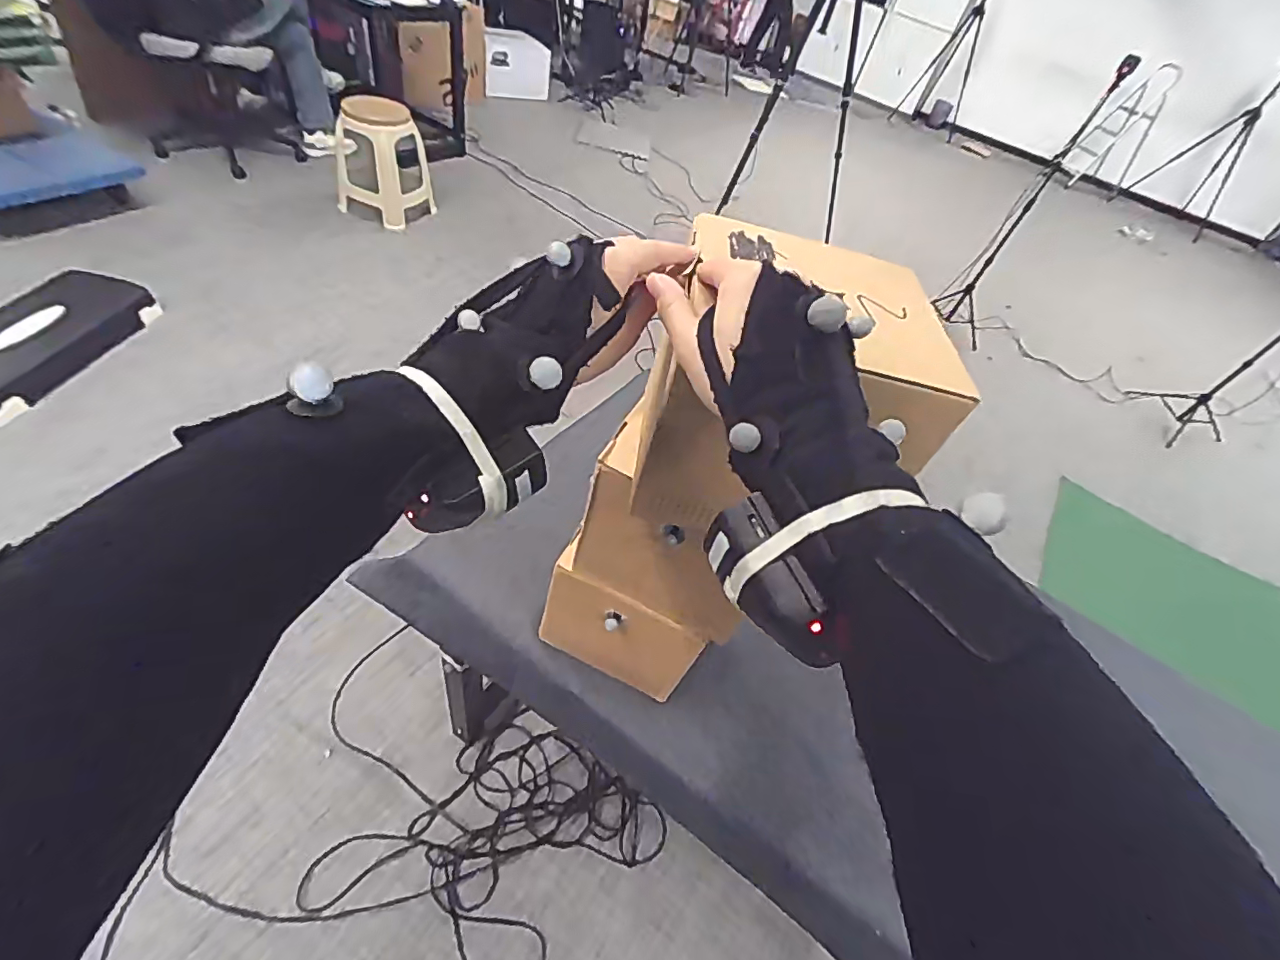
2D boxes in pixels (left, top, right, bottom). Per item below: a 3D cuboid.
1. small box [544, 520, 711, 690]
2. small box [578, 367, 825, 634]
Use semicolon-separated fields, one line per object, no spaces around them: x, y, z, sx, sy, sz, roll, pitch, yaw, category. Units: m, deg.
0.002;0.127;0.655;0.179;0.176;0.168;25;46;7;small box
0.054;0.024;0.540;0.179;0.176;0.168;26;47;7;small box
